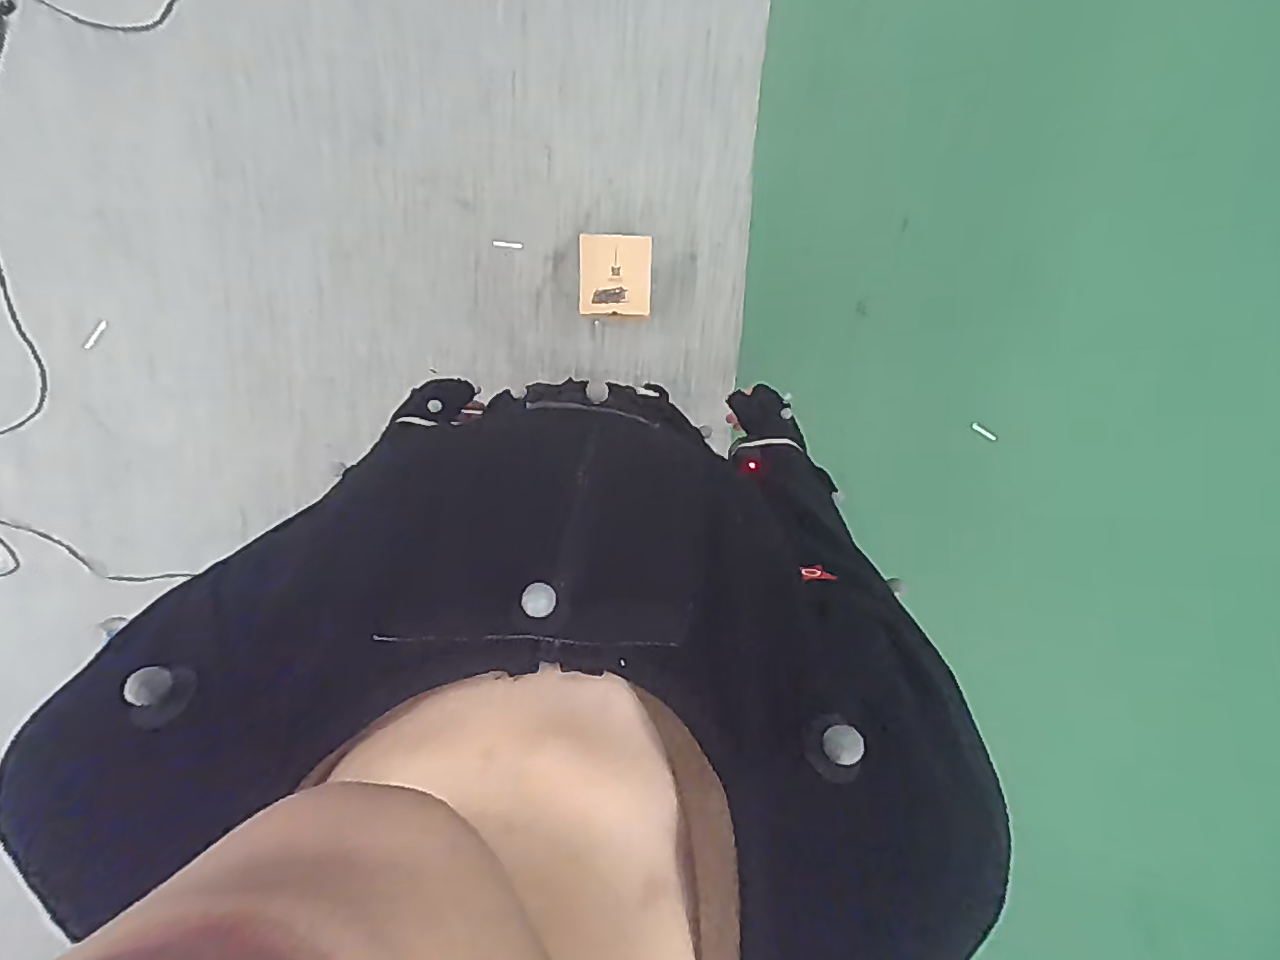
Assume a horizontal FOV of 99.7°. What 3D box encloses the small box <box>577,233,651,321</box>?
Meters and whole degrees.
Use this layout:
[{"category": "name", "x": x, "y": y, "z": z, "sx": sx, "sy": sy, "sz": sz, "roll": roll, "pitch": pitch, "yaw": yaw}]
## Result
[{"category": "small box", "x": -0.061, "y": -0.482, "z": 1.309, "sx": 0.168, "sy": 0.176, "sz": 0.179, "roll": 2, "pitch": 101, "yaw": -1}]
